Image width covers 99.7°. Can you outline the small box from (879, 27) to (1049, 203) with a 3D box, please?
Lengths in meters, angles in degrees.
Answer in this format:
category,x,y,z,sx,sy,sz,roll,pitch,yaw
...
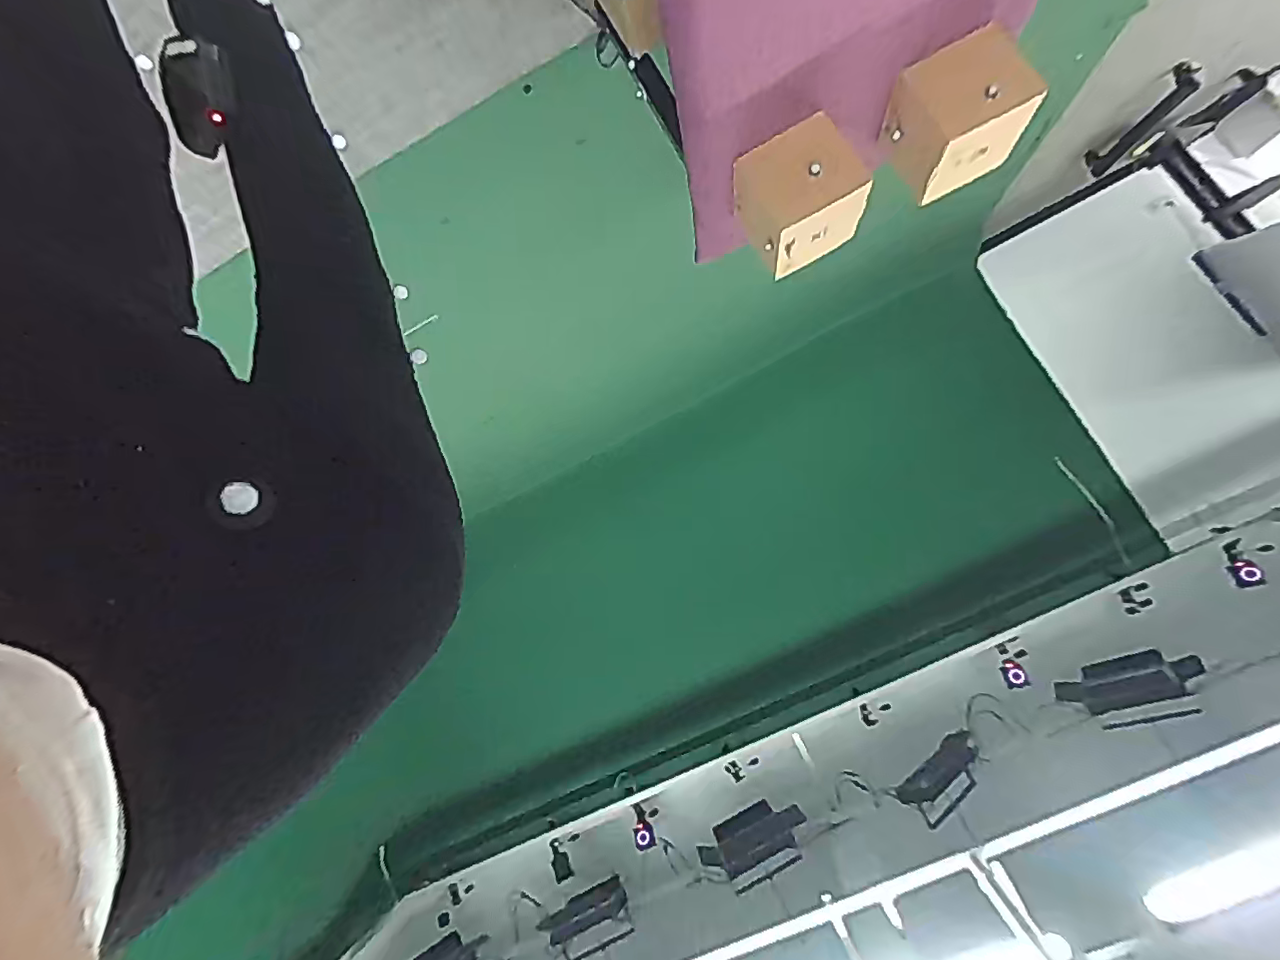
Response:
category,x,y,z,sx,sy,sz,roll,pitch,yaw
small box,0.575,-0.662,0.986,0.179,0.176,0.168,-26,165,5

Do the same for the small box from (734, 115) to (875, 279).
category,x,y,z,sx,sy,sz,roll,pitch,yaw
small box,0.293,-0.521,1.002,0.179,0.176,0.168,-30,166,4
